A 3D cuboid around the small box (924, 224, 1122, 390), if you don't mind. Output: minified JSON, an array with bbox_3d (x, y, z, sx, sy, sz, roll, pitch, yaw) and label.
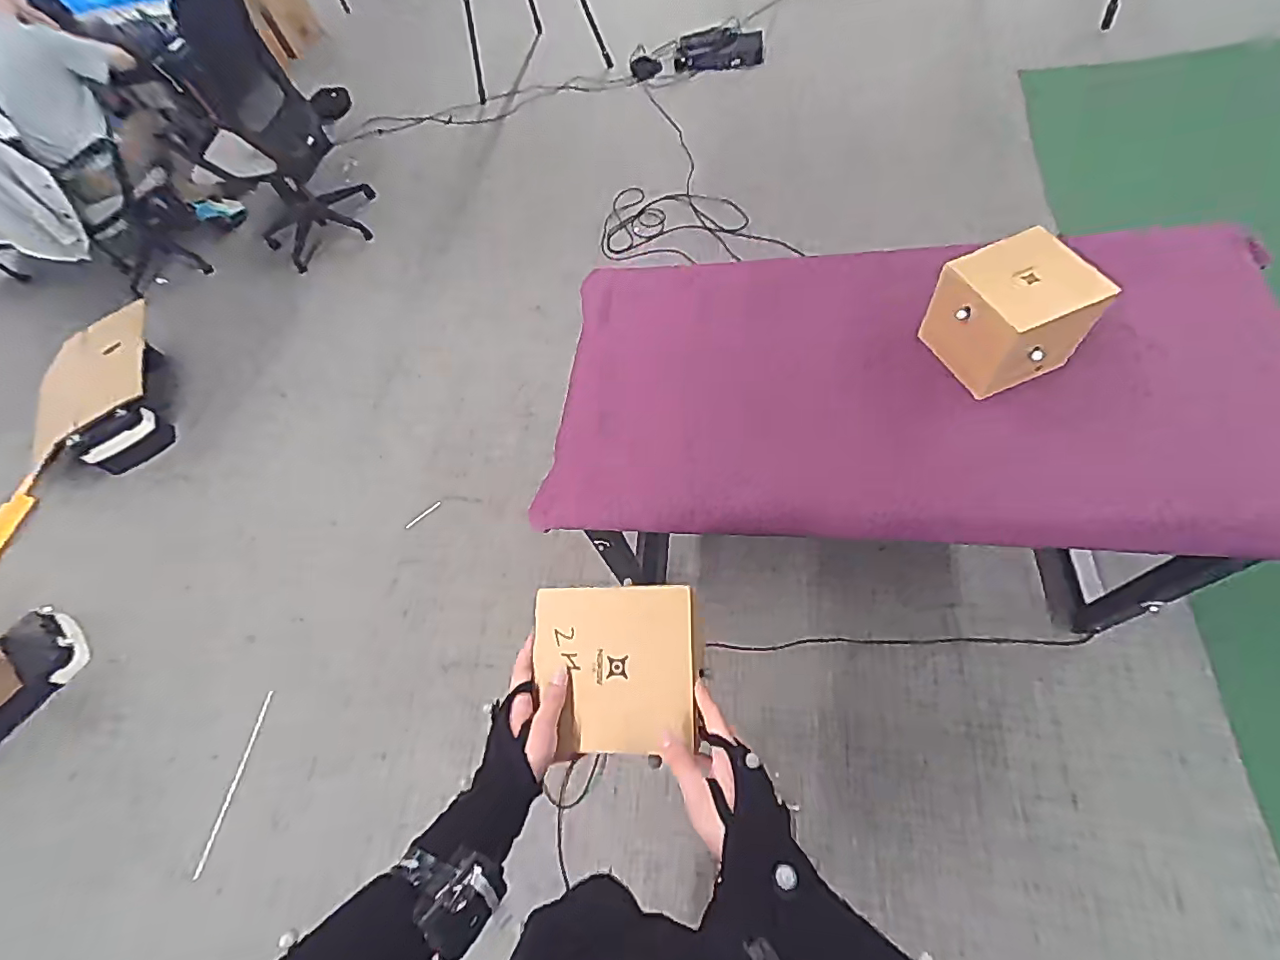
[{"bbox_3d":[0.603,-0.270,0.881,0.168,0.176,0.179,-23,59,0],"label":"small box"}]

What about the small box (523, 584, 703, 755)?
[{"bbox_3d":[-0.018,0.216,0.632,0.179,0.176,0.168,-3,70,10],"label":"small box"}]
